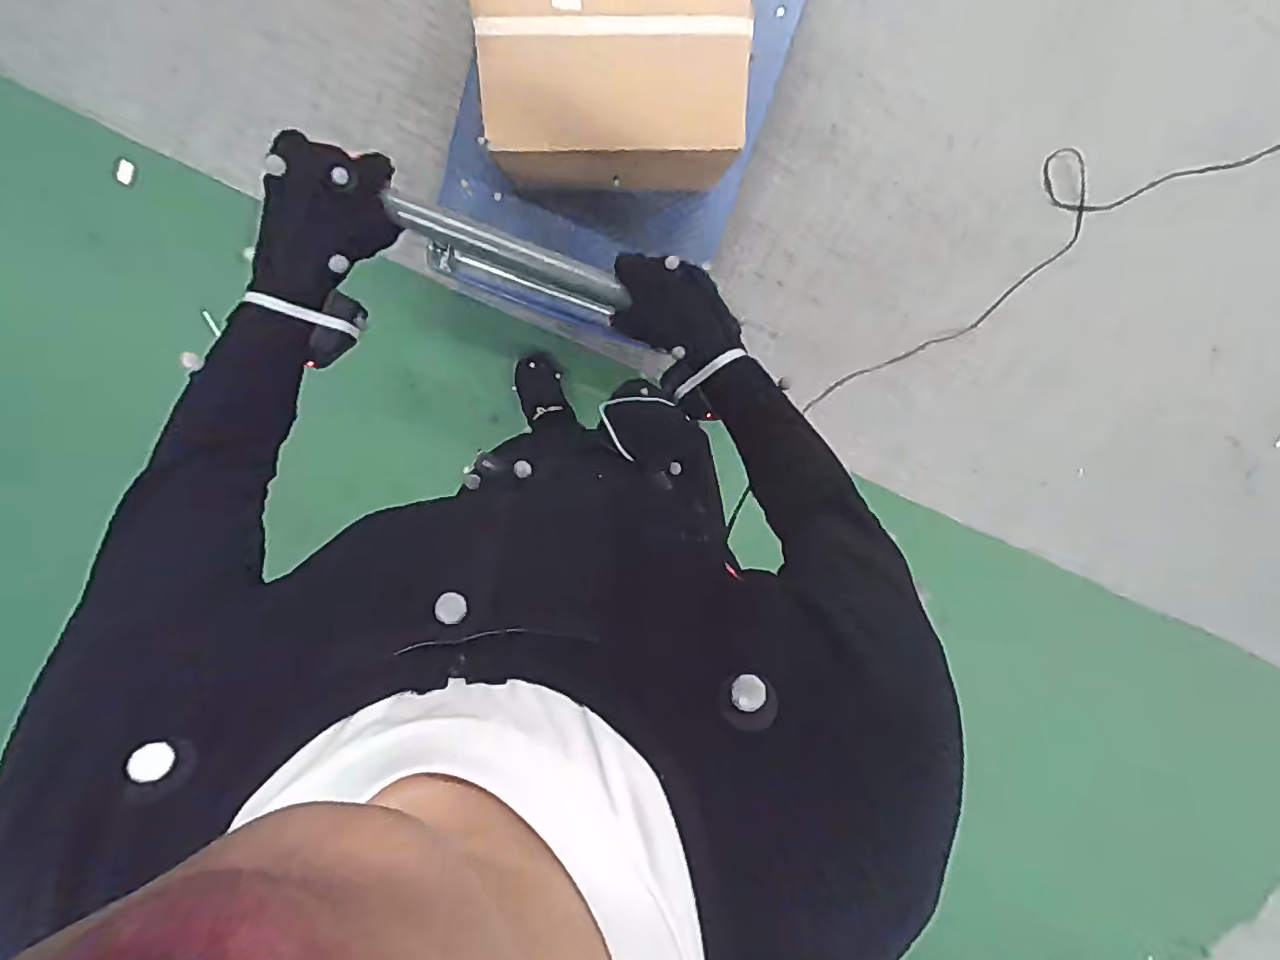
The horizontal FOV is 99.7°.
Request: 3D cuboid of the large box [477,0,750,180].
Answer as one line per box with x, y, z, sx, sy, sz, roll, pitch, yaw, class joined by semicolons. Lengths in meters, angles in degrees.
-0.041;-0.720;0.930;0.408;0.320;0.320;-2;108;-2;large box
